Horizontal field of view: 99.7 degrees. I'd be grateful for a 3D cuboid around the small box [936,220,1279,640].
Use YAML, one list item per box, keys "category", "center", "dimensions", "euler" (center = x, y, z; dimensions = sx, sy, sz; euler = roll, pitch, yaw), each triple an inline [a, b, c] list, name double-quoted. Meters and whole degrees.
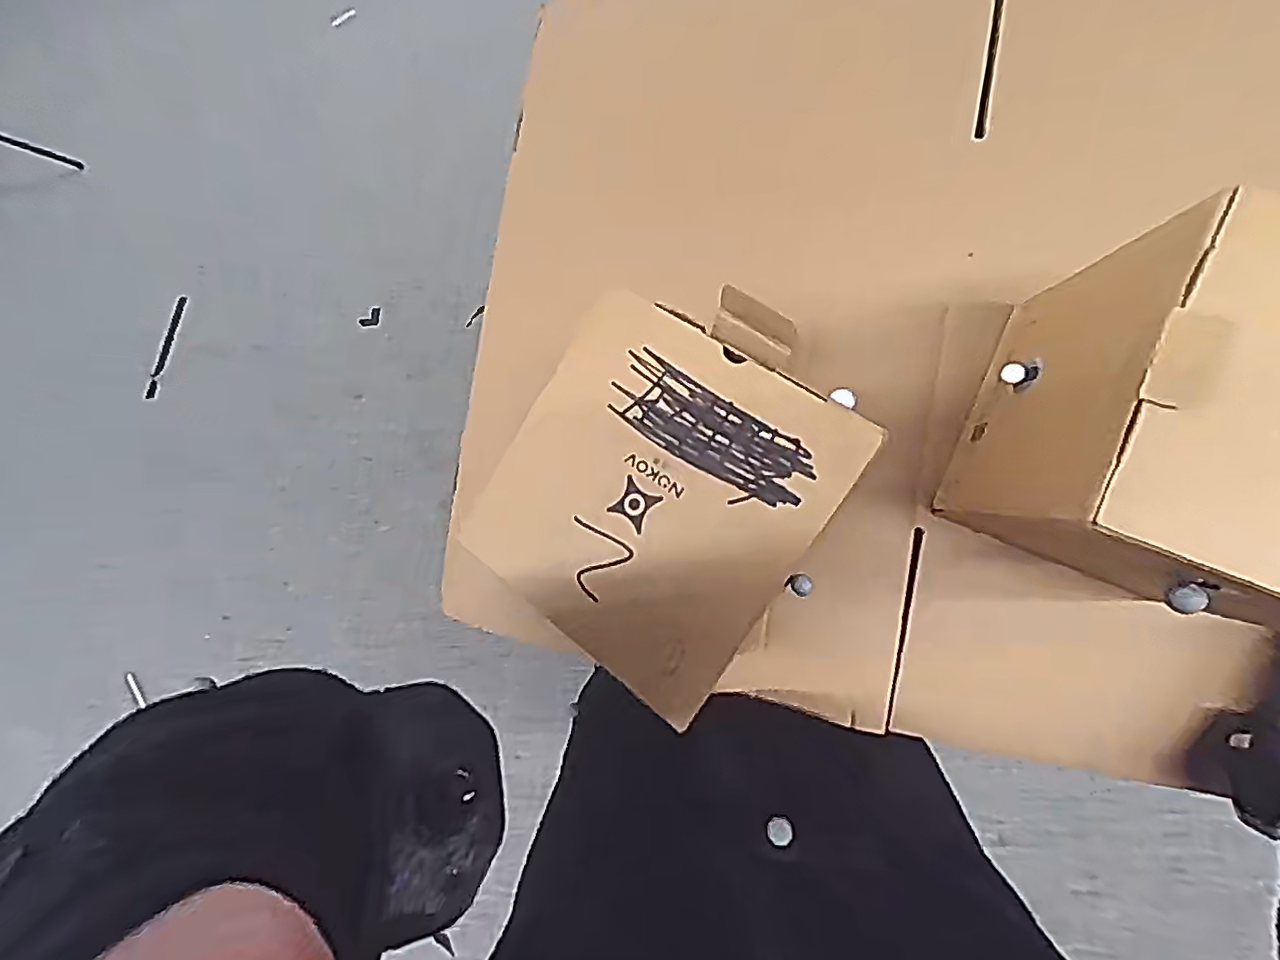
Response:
- category: "small box"
  center: [0.322, -0.015, 0.323]
  dimensions: [0.179, 0.176, 0.168]
  euler: [22, 91, 7]
